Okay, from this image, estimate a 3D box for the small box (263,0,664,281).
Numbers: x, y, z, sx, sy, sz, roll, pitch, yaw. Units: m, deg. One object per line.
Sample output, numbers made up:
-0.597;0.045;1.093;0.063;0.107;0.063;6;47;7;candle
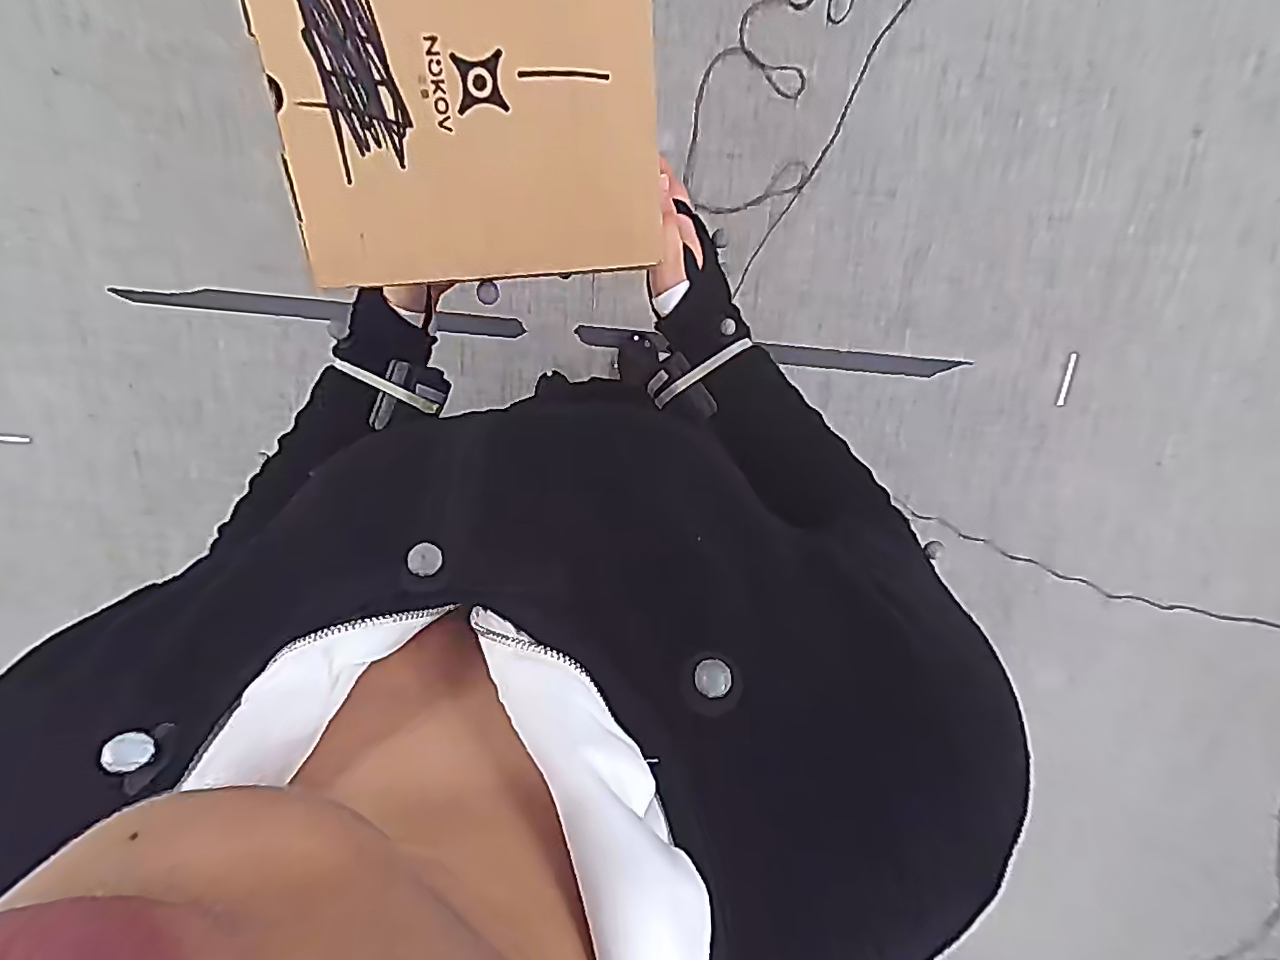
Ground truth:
-0.080;-0.211;0.325;0.179;0.176;0.168;-4;111;-1;small box
